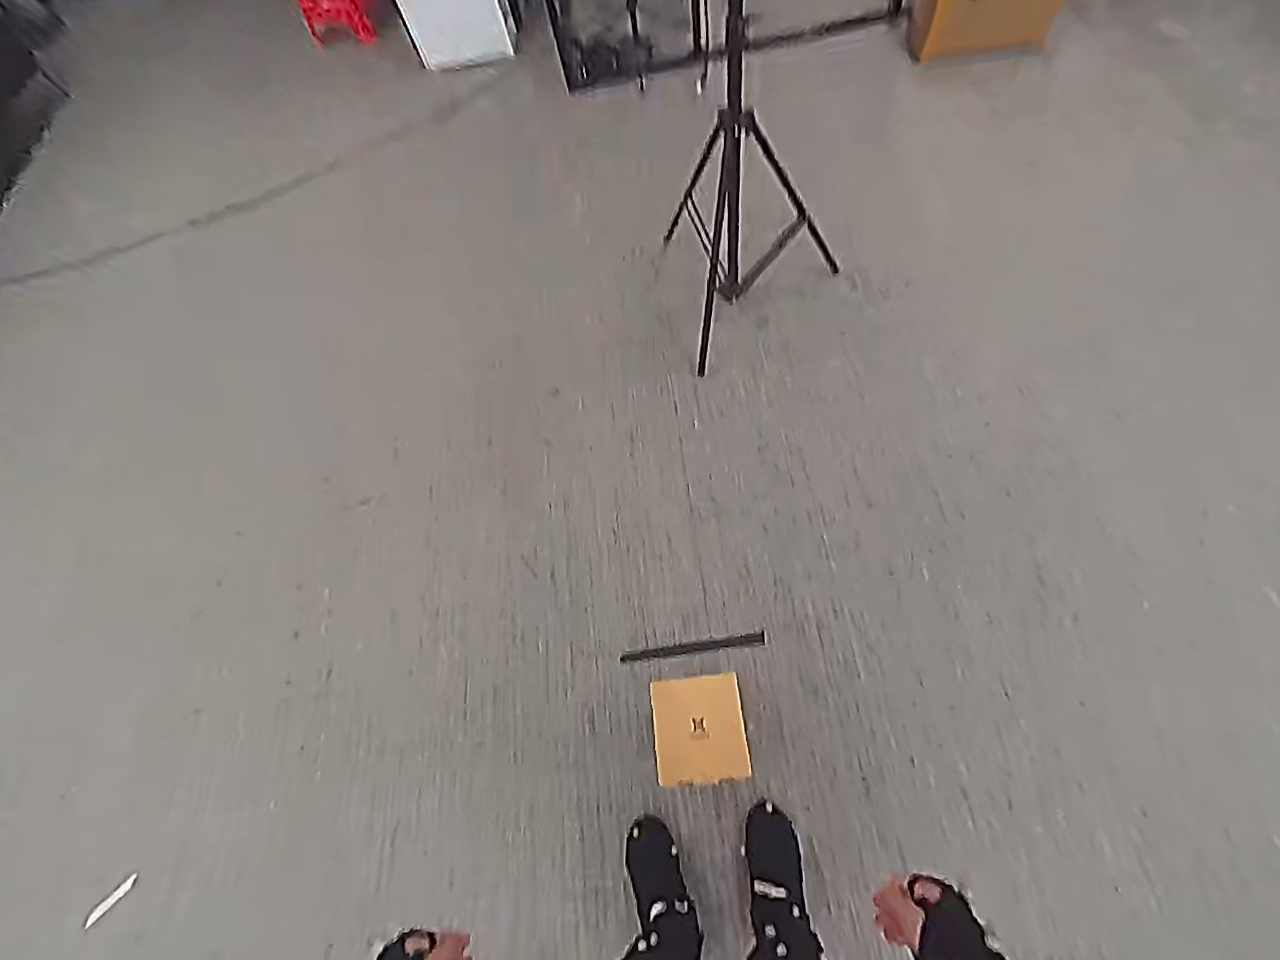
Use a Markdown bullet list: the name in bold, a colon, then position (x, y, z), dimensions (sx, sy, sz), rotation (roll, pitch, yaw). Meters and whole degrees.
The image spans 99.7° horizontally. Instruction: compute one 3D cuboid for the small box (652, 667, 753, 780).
- **small box**: position (0.120, 0.472, 1.050), dimensions (0.168, 0.176, 0.179), rotation (-9, 65, 6)
